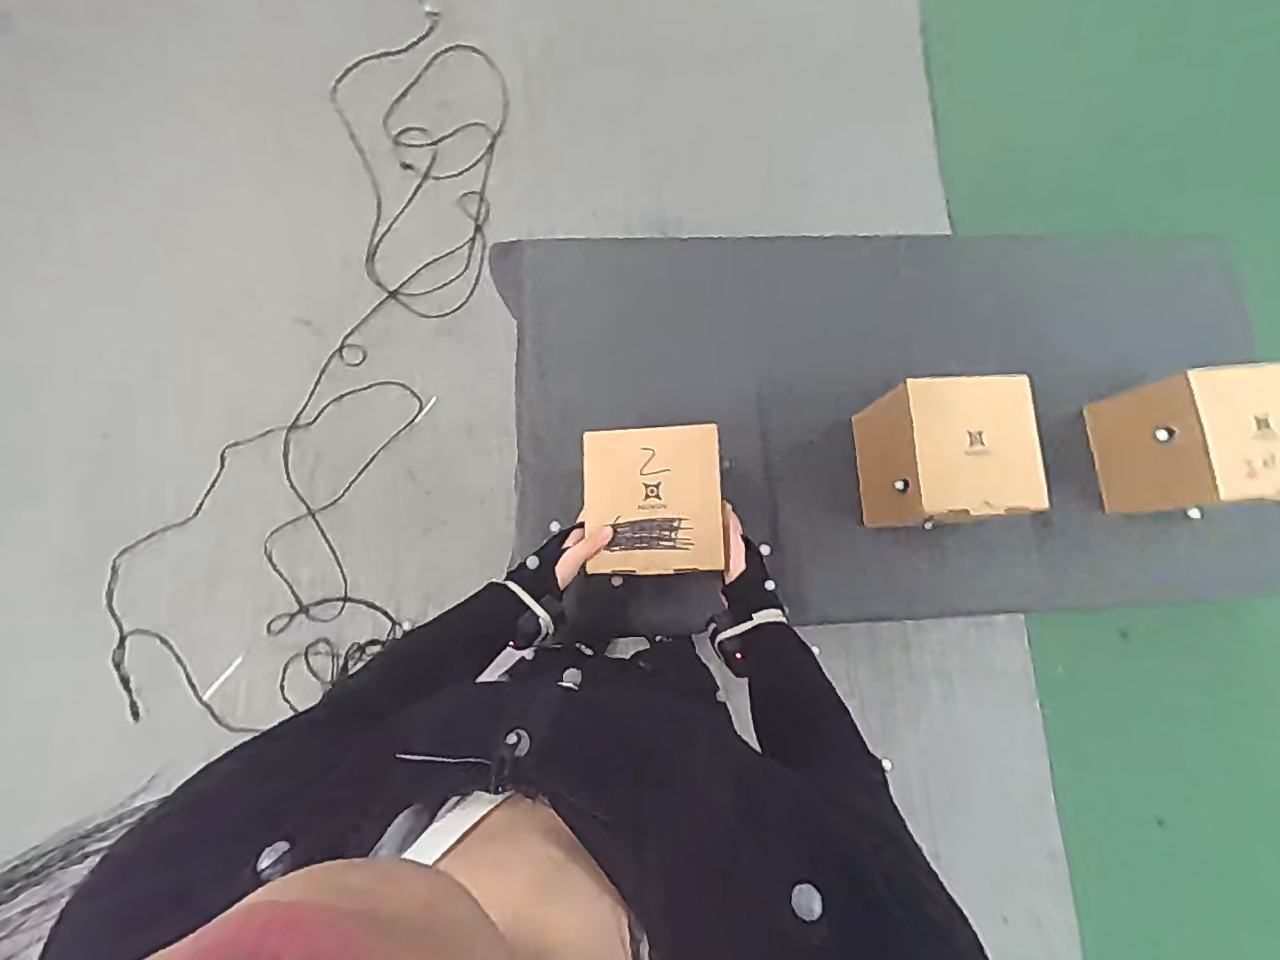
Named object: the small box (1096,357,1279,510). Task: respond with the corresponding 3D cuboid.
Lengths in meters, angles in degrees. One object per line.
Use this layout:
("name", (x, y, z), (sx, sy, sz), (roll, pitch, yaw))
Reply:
("small box", (0.804, -0.059, 0.770), (0.168, 0.176, 0.179), (-5, 81, -1))

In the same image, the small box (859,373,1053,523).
("small box", (0.427, -0.037, 0.763), (0.168, 0.176, 0.179), (-3, 81, -2))
